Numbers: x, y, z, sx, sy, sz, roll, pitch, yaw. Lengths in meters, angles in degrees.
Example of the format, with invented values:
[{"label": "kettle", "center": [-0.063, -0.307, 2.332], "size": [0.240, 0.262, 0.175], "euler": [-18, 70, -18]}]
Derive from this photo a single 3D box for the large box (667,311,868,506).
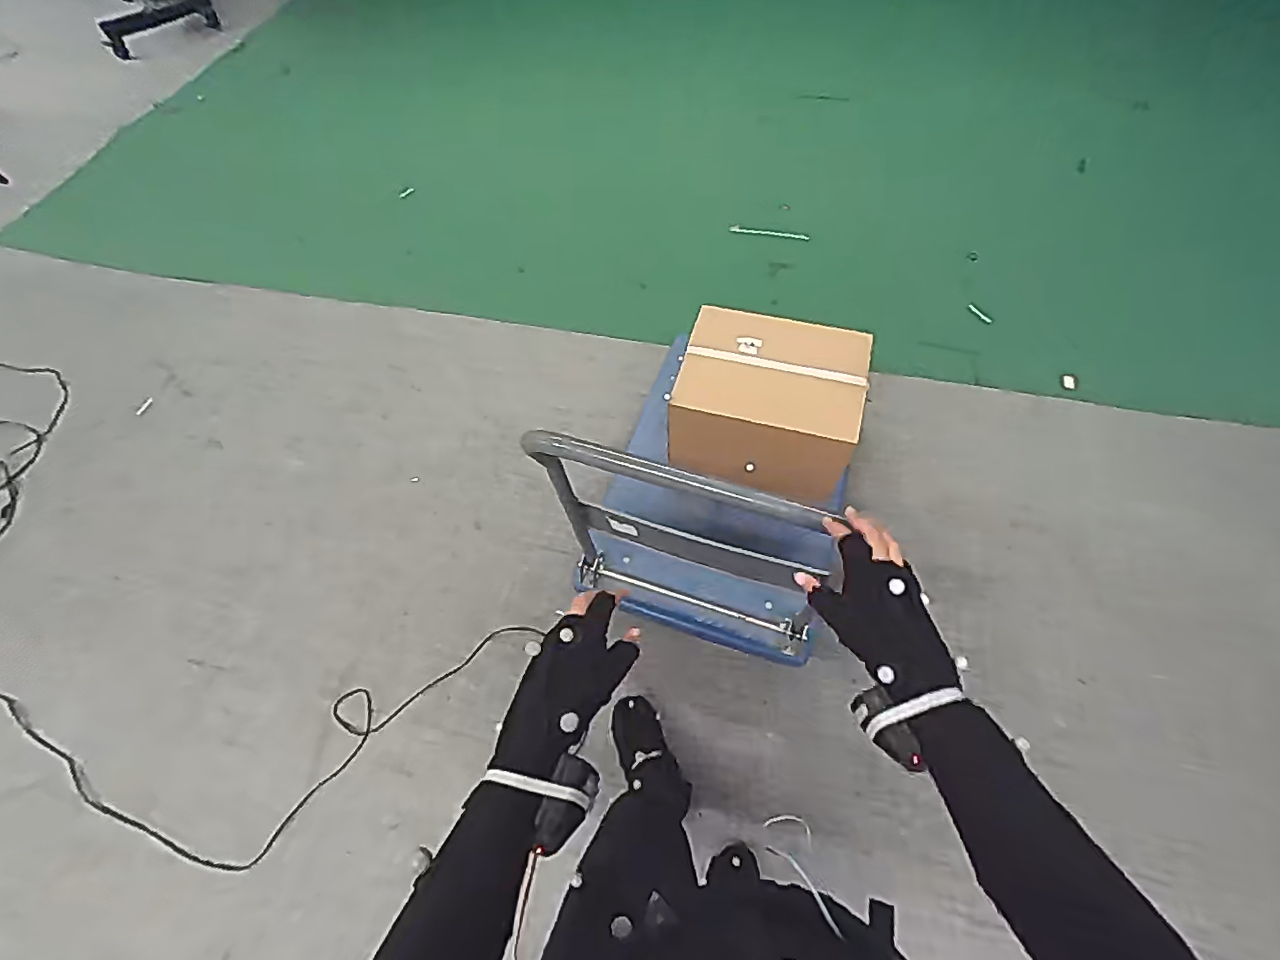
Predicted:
[{"label": "large box", "center": [0.306, -0.170, 1.338], "size": [0.408, 0.320, 0.320], "euler": [13, 62, 13]}]
